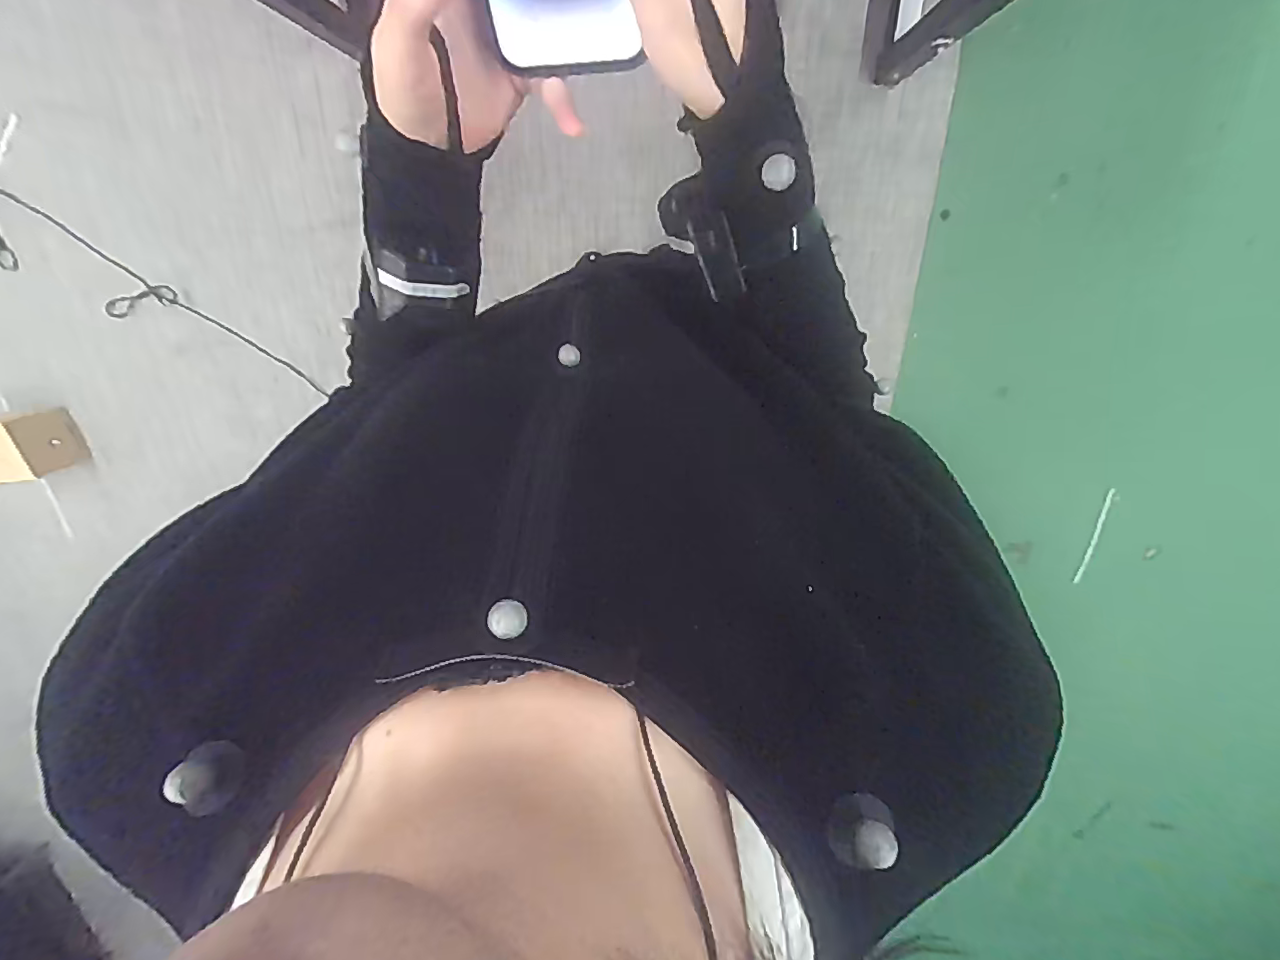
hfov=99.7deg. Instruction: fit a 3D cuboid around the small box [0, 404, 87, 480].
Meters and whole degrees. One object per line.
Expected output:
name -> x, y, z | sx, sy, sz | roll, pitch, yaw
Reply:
small box -> -1.723, -0.108, 1.513 | 0.179, 0.176, 0.168 | -5, 113, 5
